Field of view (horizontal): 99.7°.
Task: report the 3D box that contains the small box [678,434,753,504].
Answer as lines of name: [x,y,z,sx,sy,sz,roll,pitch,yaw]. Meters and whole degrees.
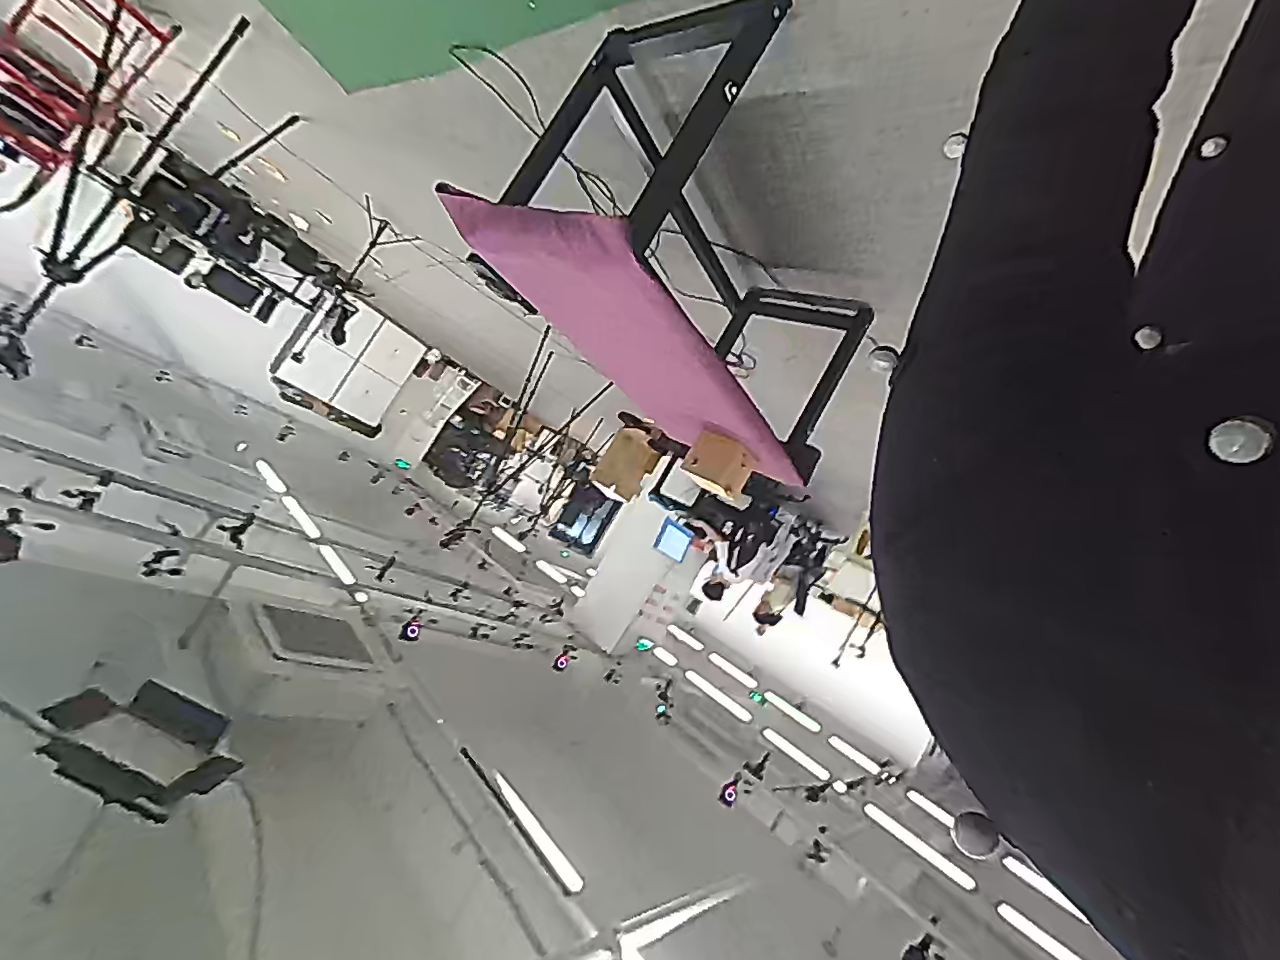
small box: [0.275,-0.045,1.943,0.179,0.176,0.168,26,172,39]
